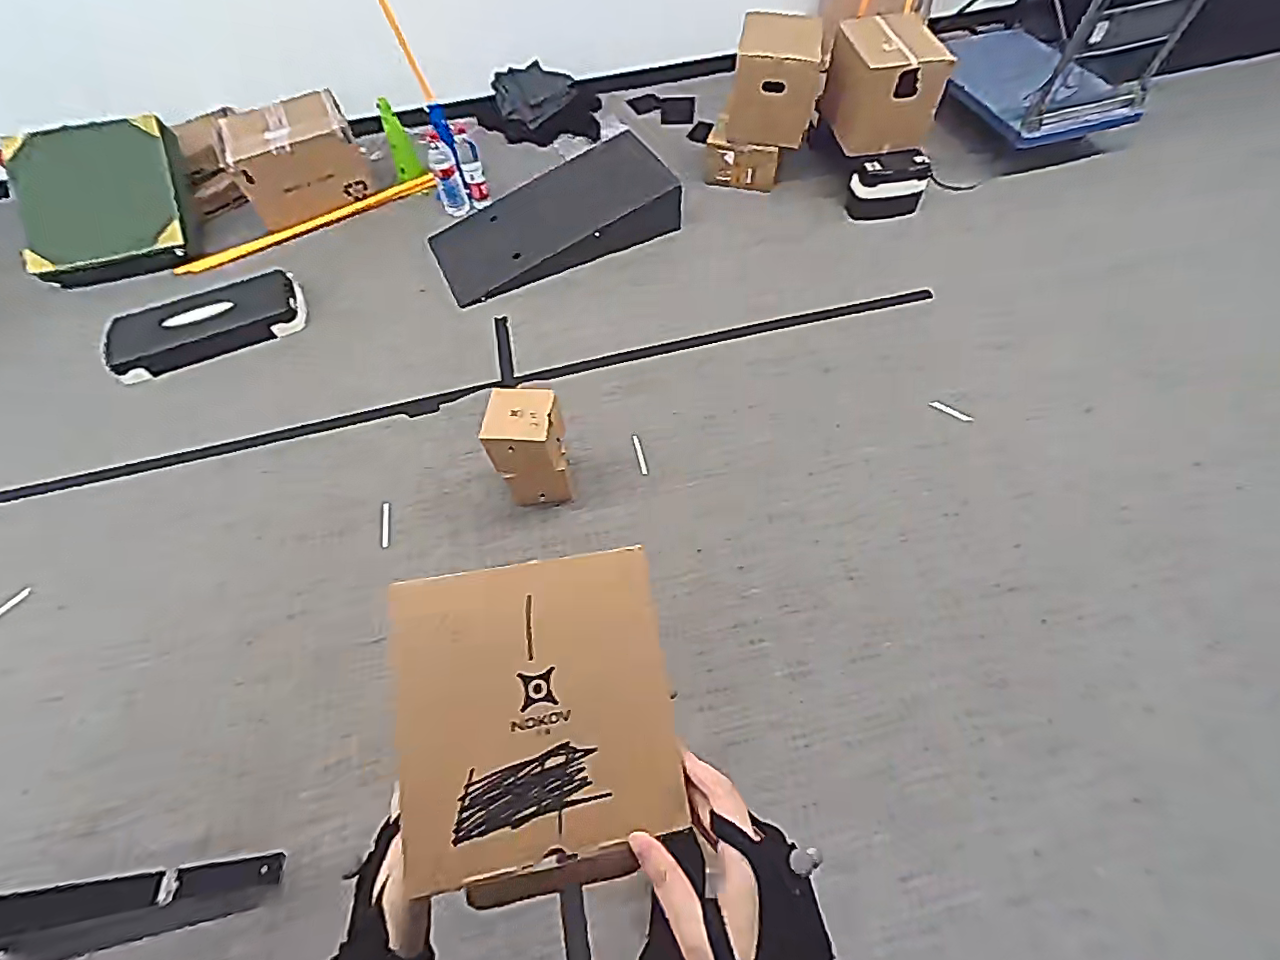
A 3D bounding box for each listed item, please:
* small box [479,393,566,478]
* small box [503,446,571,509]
[{"bbox_3d":[-0.310,-0.117,1.467,0.179,0.176,0.168,3,60,5],"label":"small box"},{"bbox_3d":[-0.301,-0.029,1.607,0.179,0.176,0.168,-7,59,-2],"label":"small box"}]
